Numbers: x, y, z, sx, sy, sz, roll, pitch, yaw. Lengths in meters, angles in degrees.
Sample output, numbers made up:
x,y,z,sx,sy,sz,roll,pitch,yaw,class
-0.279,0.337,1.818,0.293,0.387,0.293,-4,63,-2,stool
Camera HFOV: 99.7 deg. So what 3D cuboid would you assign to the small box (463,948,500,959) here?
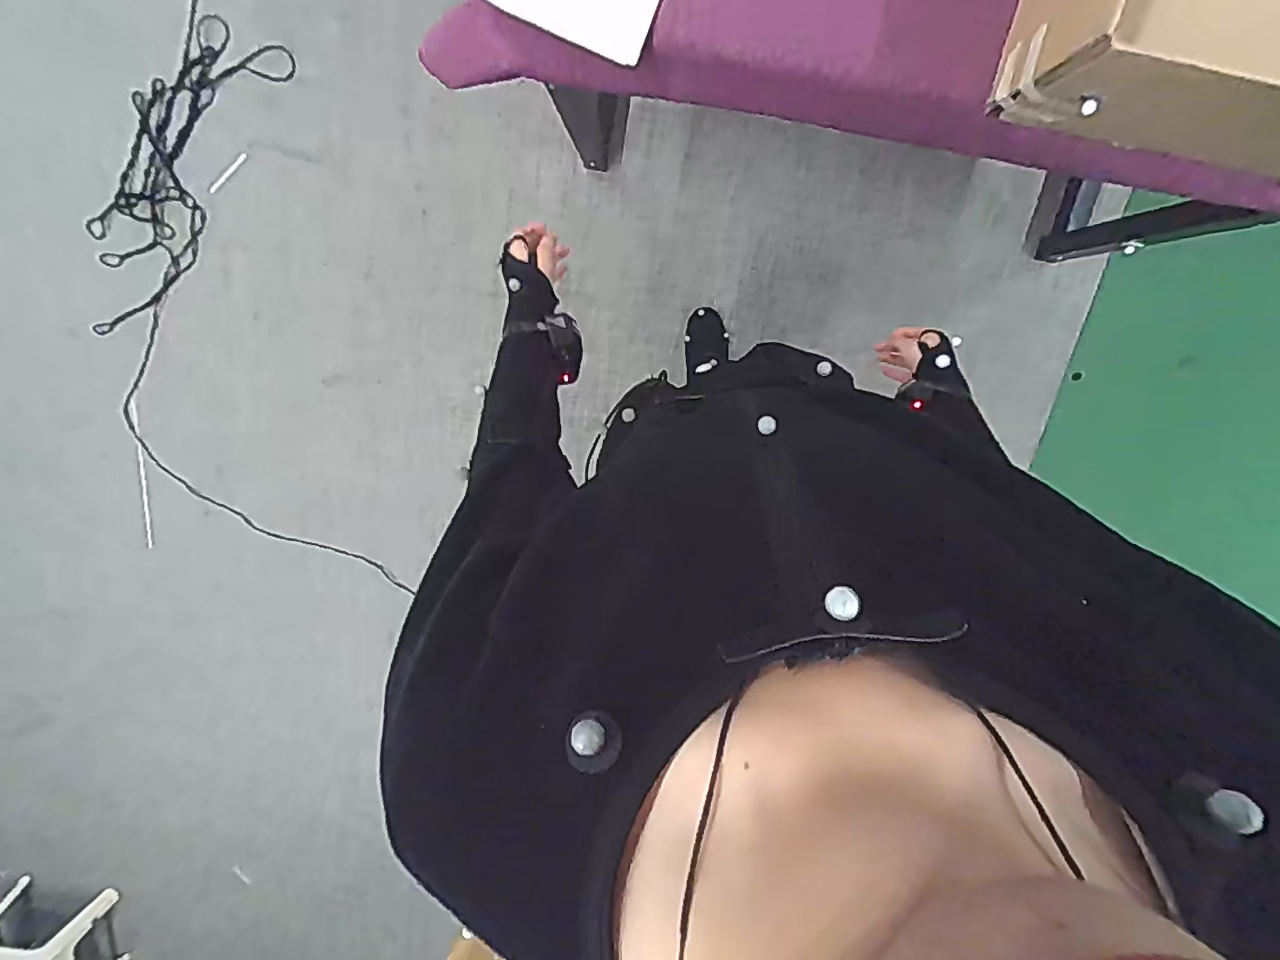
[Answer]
x,y,z,sx,sy,sz,roll,pitch,yaw,class
-0.467,1.492,1.528,0.168,0.176,0.179,28,105,-4,small box
